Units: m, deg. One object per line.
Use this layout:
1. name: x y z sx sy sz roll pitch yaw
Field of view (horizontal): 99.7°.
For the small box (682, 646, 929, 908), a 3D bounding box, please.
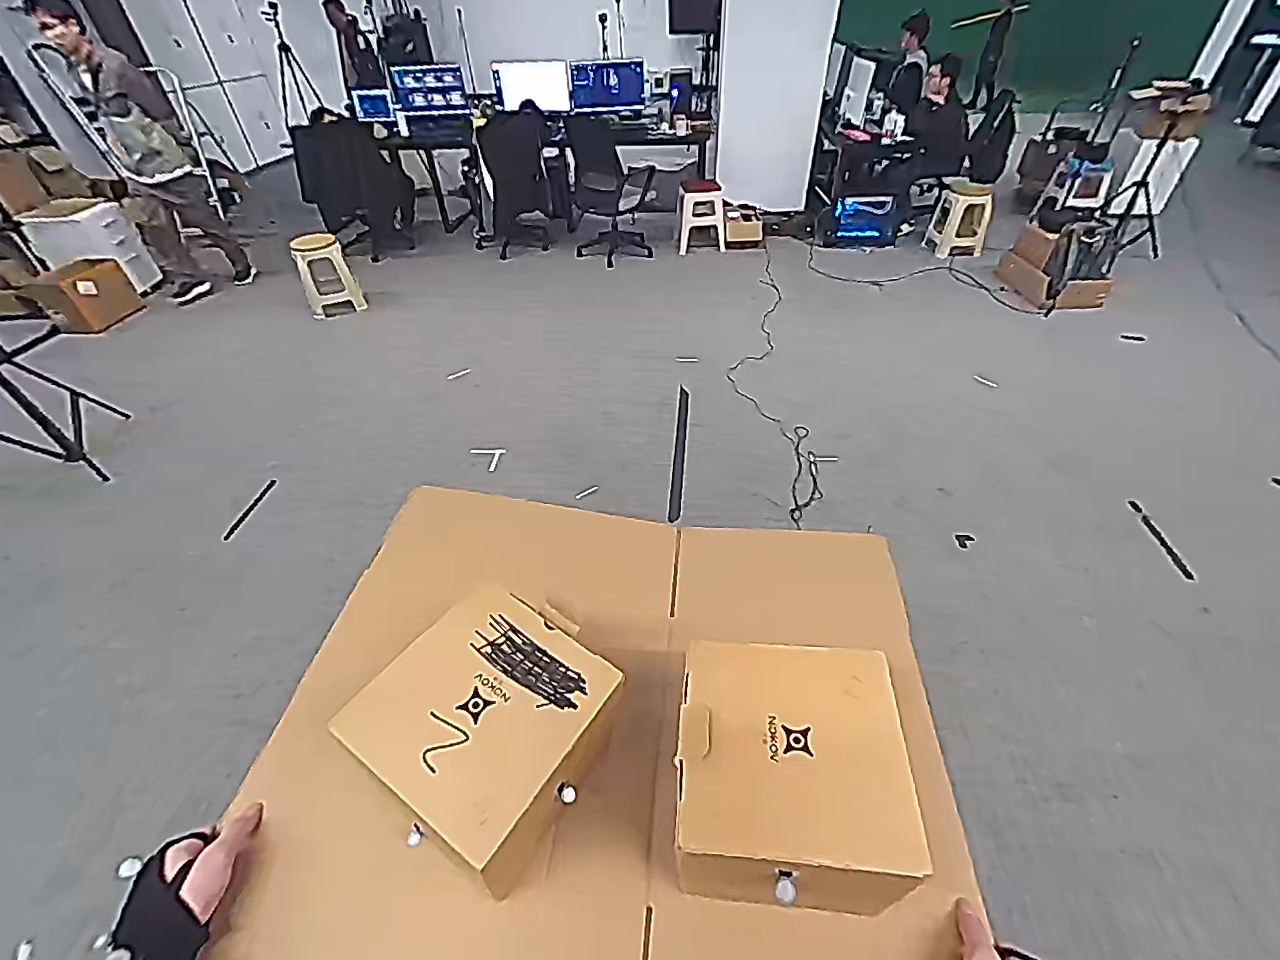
1. small box: 0.133 0.274 0.499 0.179 0.176 0.168 0 44 8
